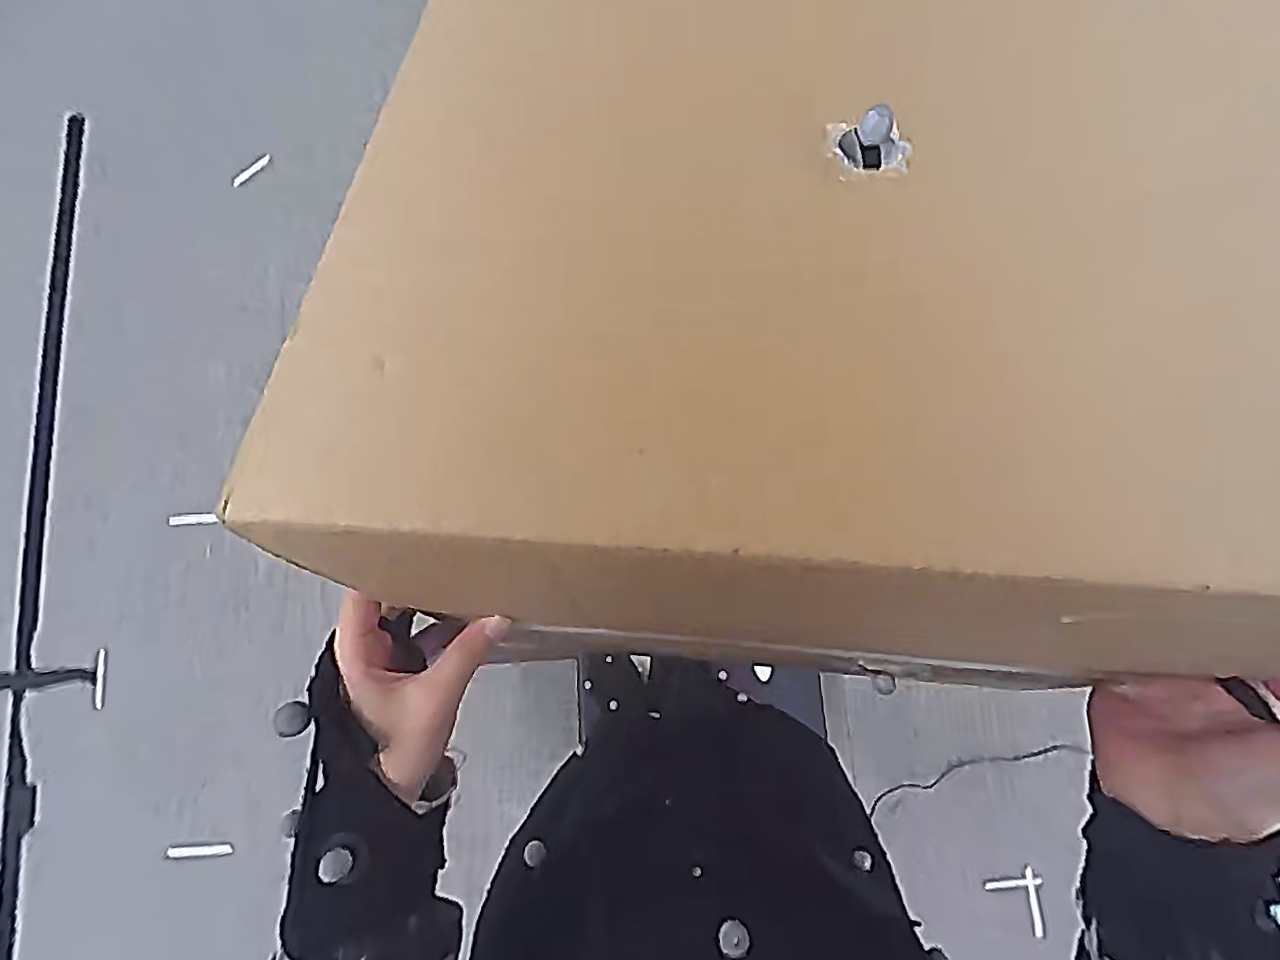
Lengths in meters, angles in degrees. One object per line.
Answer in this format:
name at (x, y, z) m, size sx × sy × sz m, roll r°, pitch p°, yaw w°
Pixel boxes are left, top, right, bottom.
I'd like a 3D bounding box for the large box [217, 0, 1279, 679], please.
large box at (0.080, -0.059, 0.343) m, size 0.408 × 0.320 × 0.320 m, roll 3°, pitch 68°, yaw 4°
